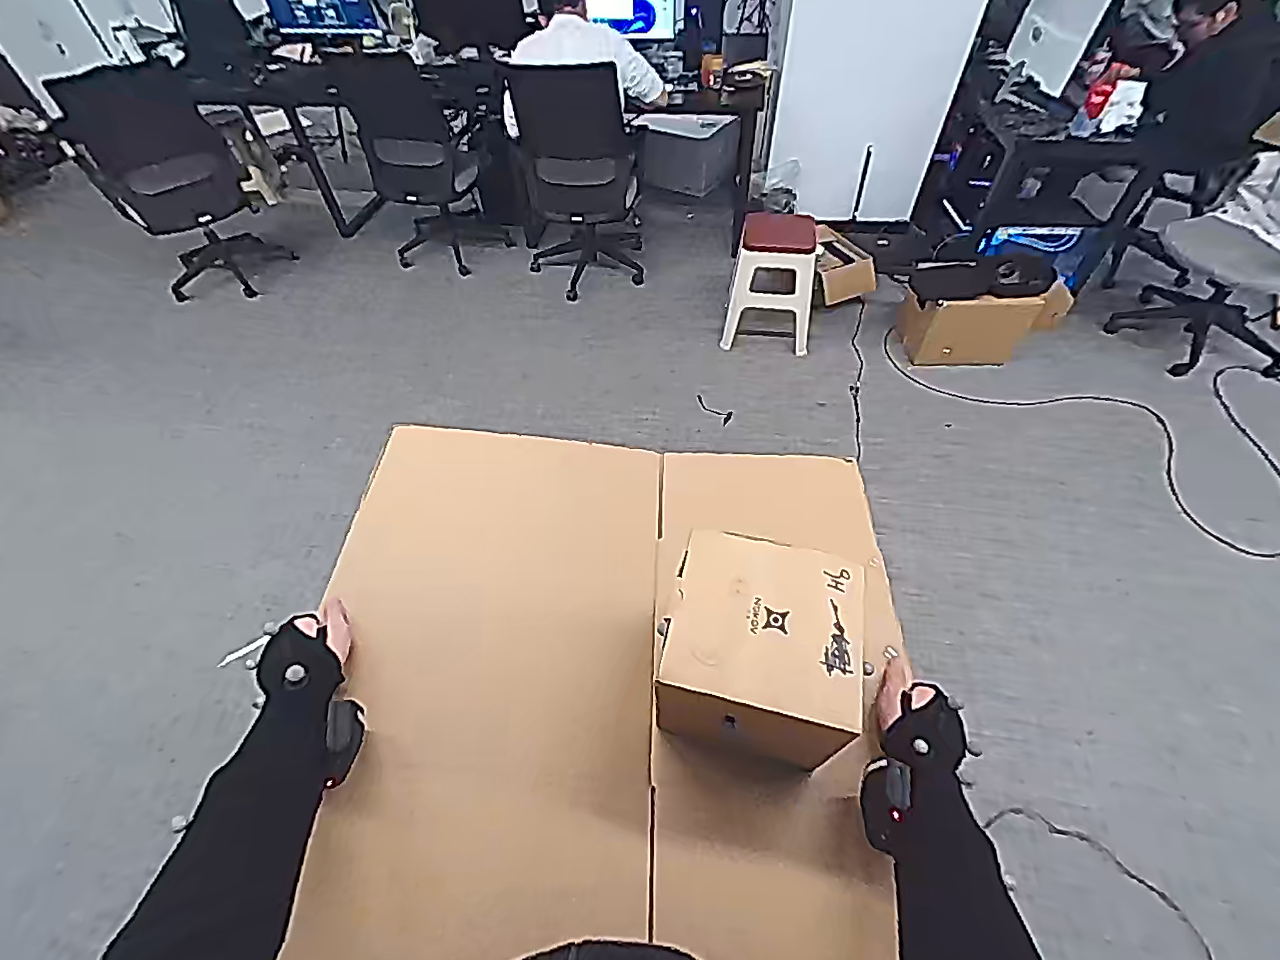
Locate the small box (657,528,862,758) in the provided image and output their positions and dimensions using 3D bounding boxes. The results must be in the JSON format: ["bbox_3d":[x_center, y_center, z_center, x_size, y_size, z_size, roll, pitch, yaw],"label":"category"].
[{"bbox_3d":[0.123,0.176,0.574,0.179,0.176,0.168,10,54,11],"label":"small box"}]
